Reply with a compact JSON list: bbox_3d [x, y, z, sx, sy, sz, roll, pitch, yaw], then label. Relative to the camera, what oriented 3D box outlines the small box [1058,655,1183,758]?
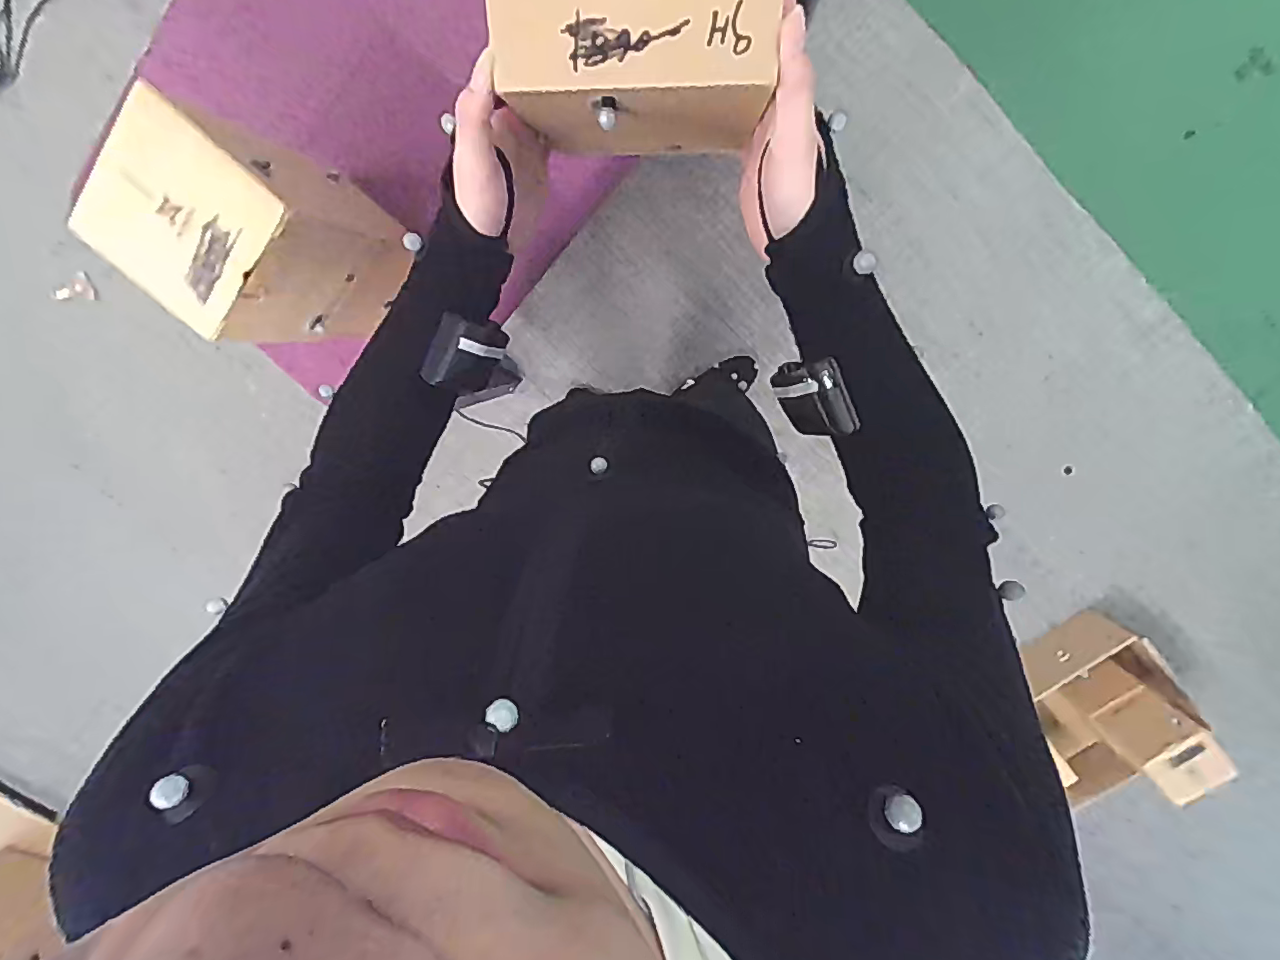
[{"bbox_3d":[1.372,0.645,1.555,0.168,0.176,0.179,-41,99,13],"label":"small box"}]

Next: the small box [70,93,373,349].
[{"bbox_3d":[-0.445,-0.268,0.605,0.179,0.176,0.168,41,104,-4],"label":"small box"}]

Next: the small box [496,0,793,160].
[{"bbox_3d":[0.008,-0.331,0.356,0.168,0.176,0.179,2,110,4],"label":"small box"}]

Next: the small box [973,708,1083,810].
[{"bbox_3d":[1.154,0.828,1.619,0.168,0.176,0.179,-40,98,12],"label":"small box"}]

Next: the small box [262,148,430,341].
[{"bbox_3d":[-0.439,-0.312,0.762,0.179,0.176,0.168,41,104,-6],"label":"small box"}]
